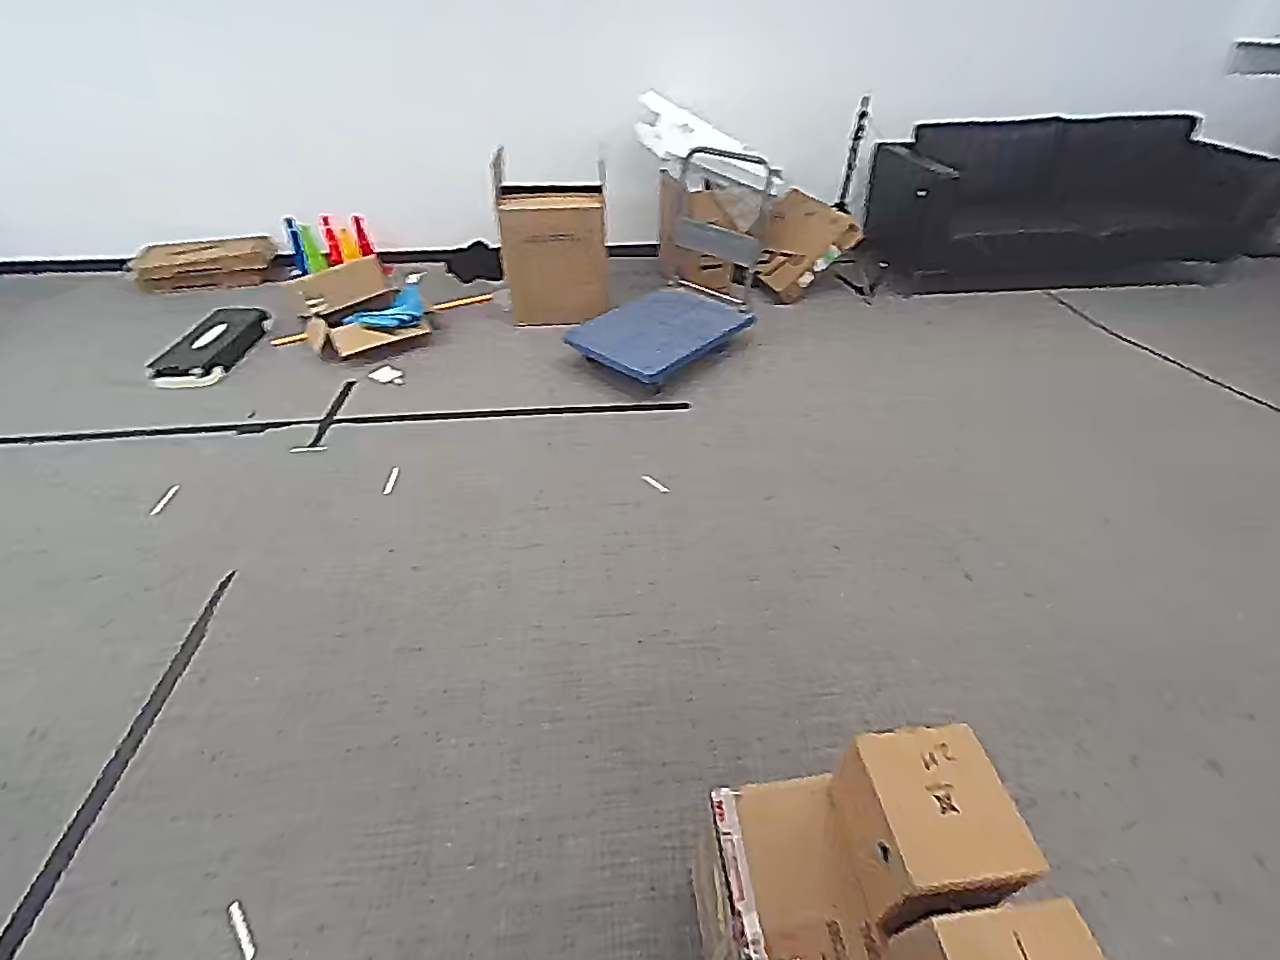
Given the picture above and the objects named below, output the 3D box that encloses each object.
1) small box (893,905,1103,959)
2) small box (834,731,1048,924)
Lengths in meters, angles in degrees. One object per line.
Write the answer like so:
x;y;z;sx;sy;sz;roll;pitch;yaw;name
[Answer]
0.406;0.592;0.583;0.168;0.176;0.179;-5;42;-4;small box
0.381;0.468;0.726;0.168;0.176;0.179;-4;39;-4;small box
